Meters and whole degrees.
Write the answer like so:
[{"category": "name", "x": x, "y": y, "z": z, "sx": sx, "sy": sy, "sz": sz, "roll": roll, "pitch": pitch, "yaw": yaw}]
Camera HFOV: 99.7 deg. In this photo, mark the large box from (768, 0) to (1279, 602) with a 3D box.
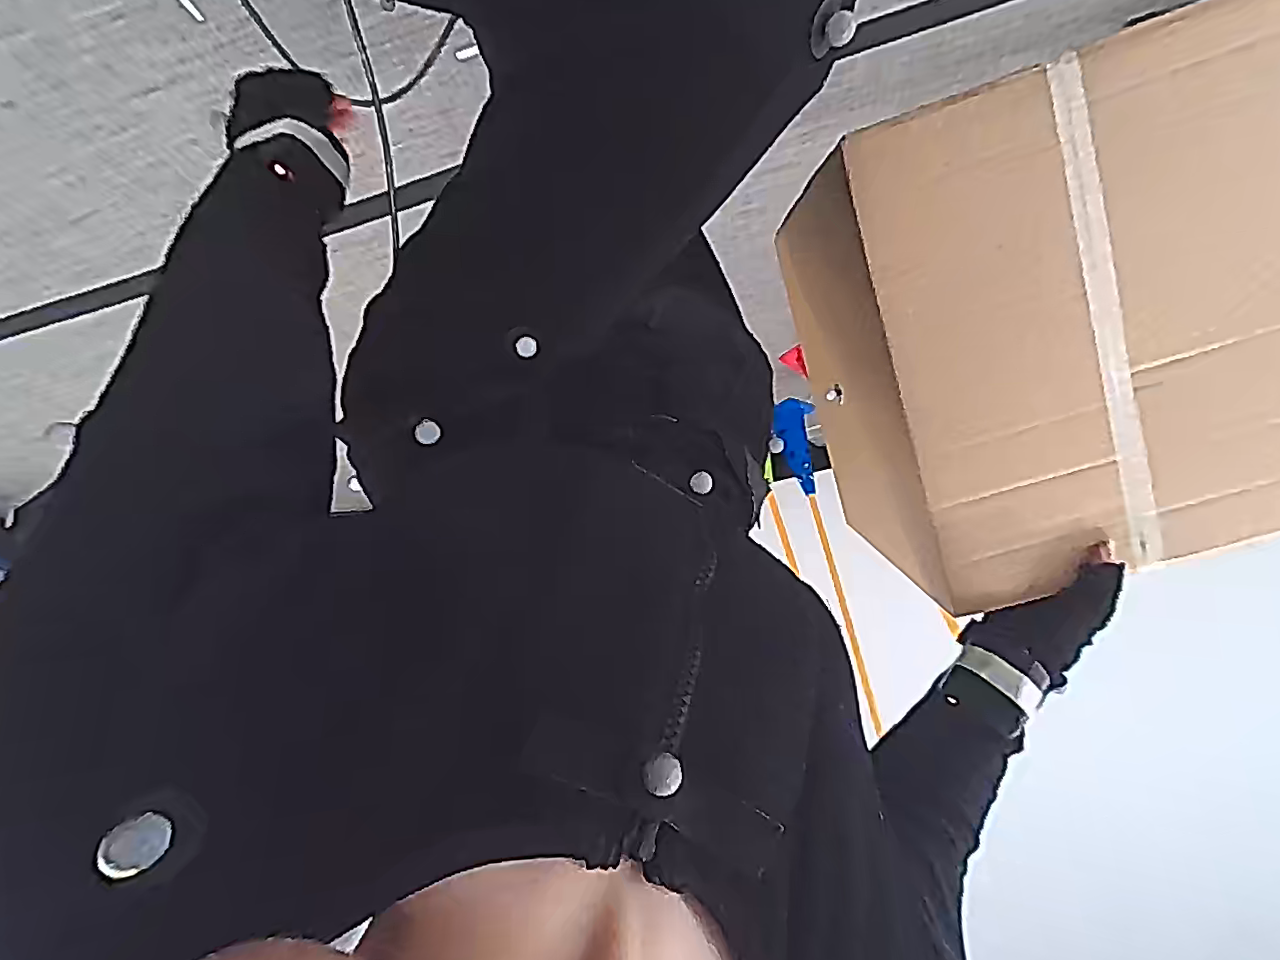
[{"category": "large box", "x": 0.360, "y": -0.149, "z": 0.574, "sx": 0.320, "sy": 0.408, "sz": 0.320, "roll": -17, "pitch": -170, "yaw": 8}]
